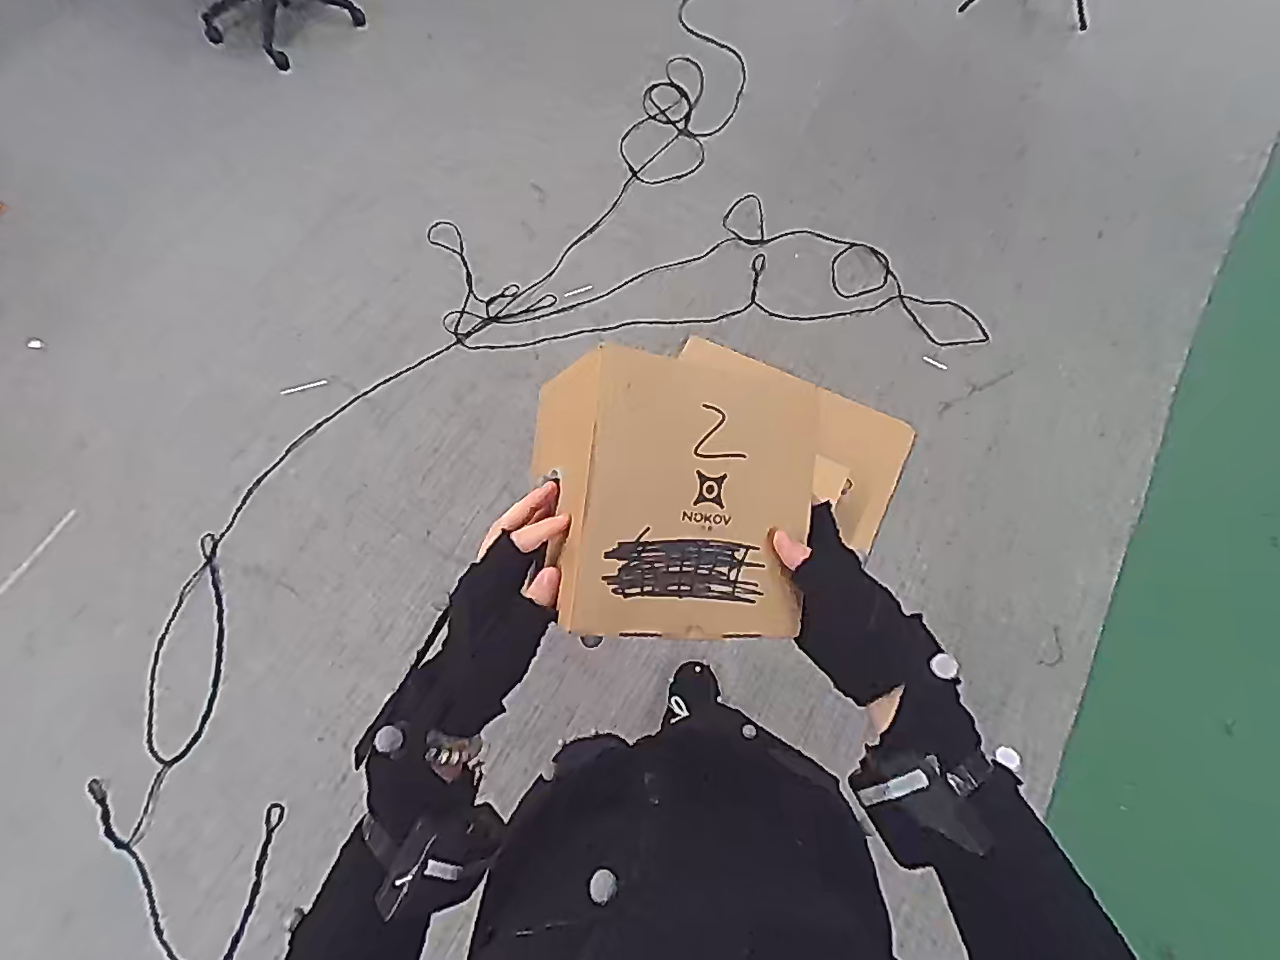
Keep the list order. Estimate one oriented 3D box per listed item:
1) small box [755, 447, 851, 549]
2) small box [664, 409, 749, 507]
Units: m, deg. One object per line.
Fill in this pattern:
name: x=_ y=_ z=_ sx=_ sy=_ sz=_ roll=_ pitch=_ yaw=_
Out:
small box: x=0.399 y=0.050 z=1.355 sx=0.168 sy=0.176 sz=0.179 roll=25 pitch=74 yaw=13
small box: x=0.172 y=-0.049 z=1.402 sx=0.168 sy=0.176 sz=0.179 roll=21 pitch=72 yaw=11
